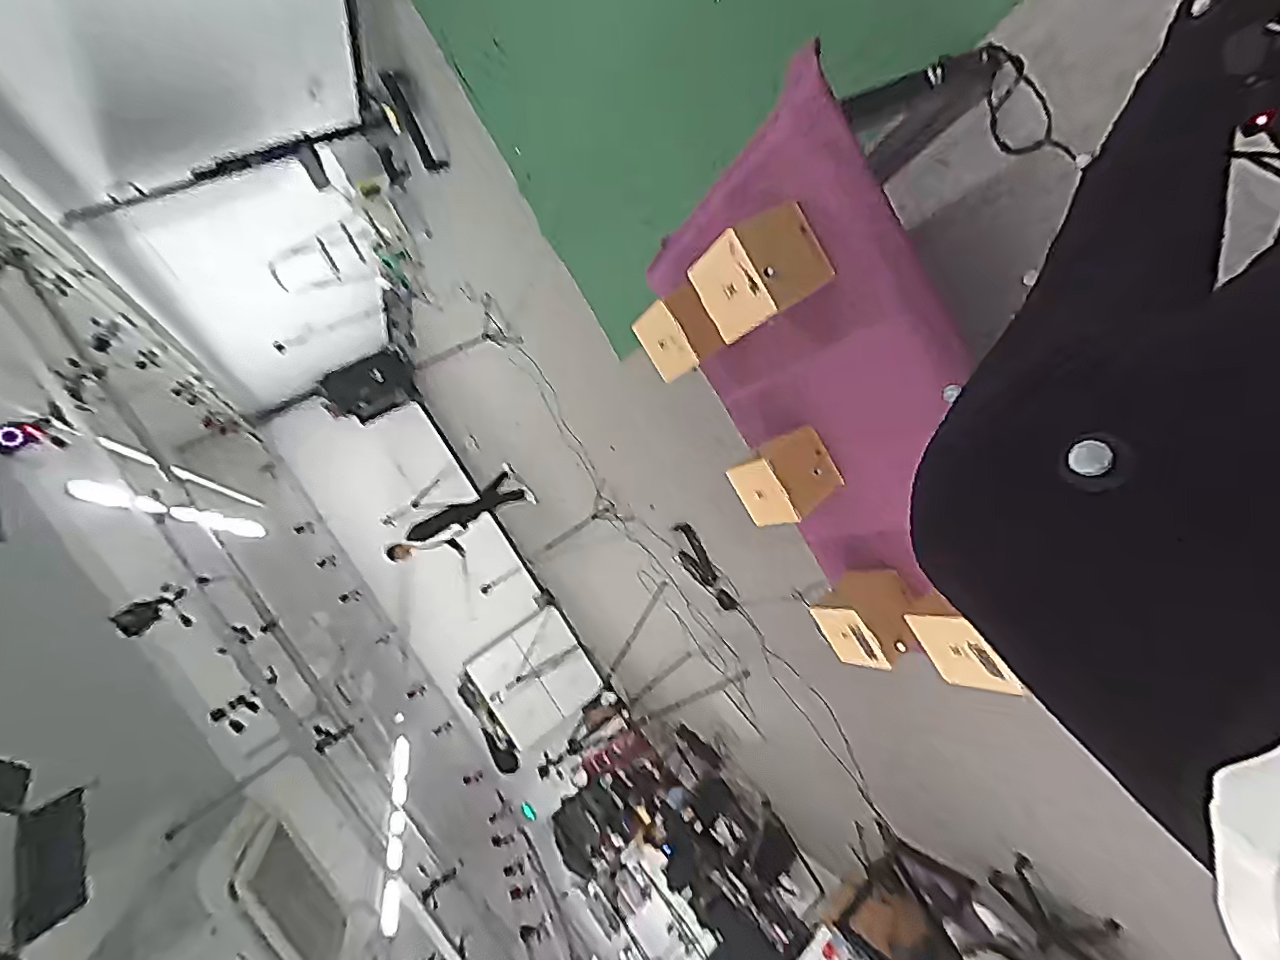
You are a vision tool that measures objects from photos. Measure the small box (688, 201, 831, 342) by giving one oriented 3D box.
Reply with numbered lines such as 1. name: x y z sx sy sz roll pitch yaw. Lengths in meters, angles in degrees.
1. small box: 0.232 -0.401 1.052 0.168 0.176 0.179 58 158 -6

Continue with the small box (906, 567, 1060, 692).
1. small box: 0.682 0.286 1.070 0.168 0.176 0.179 57 158 -1

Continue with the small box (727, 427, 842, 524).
1. small box: 0.354 -0.009 1.329 0.168 0.176 0.179 59 155 -5

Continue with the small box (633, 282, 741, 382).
1. small box: 0.117 -0.366 1.311 0.168 0.176 0.179 57 156 -7
